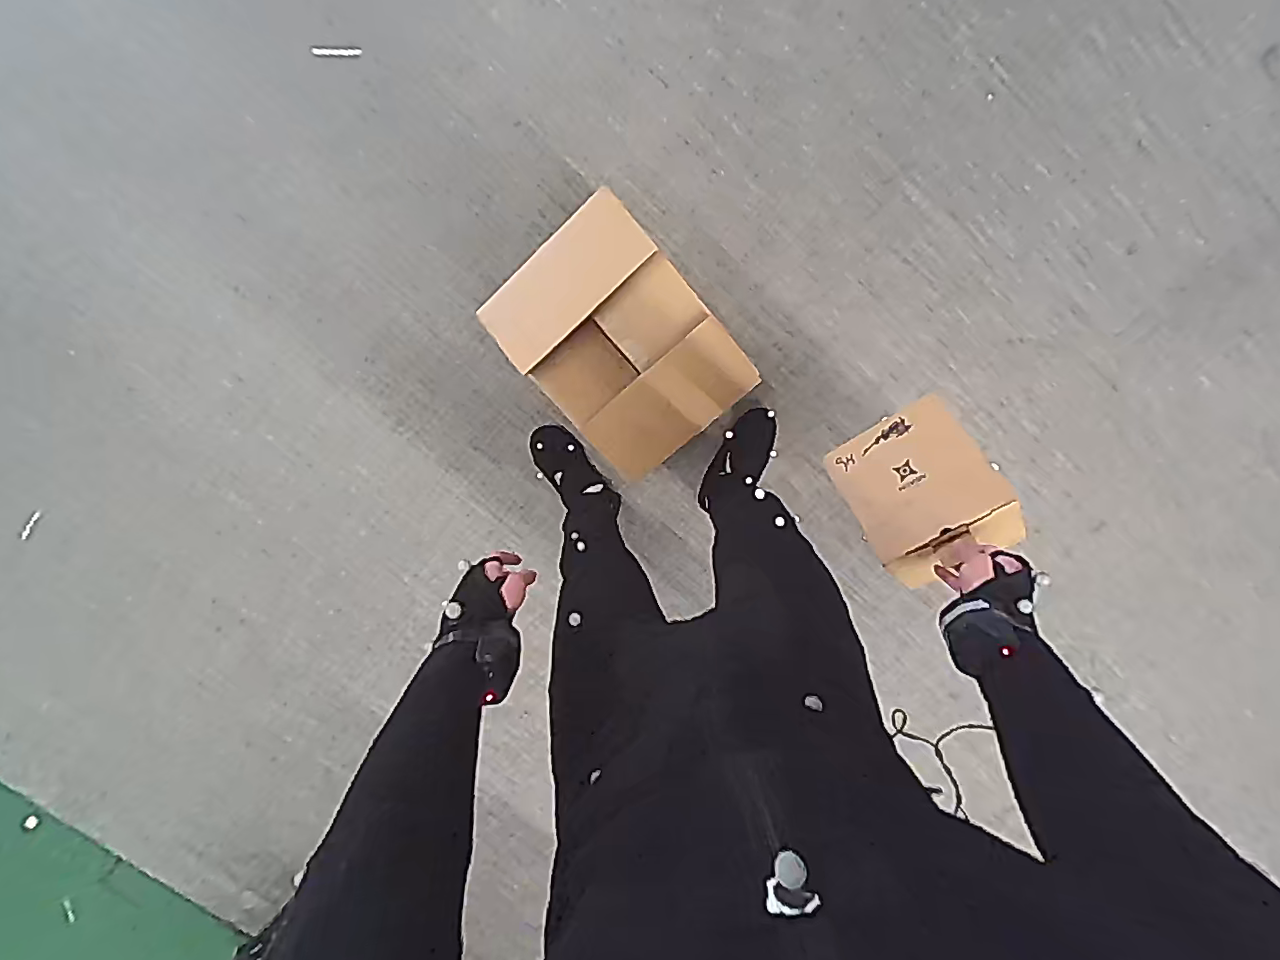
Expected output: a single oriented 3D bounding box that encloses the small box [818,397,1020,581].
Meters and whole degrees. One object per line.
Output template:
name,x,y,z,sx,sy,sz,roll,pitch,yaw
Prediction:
small box,0.385,0.025,0.744,0.168,0.179,0.176,-38,142,22
